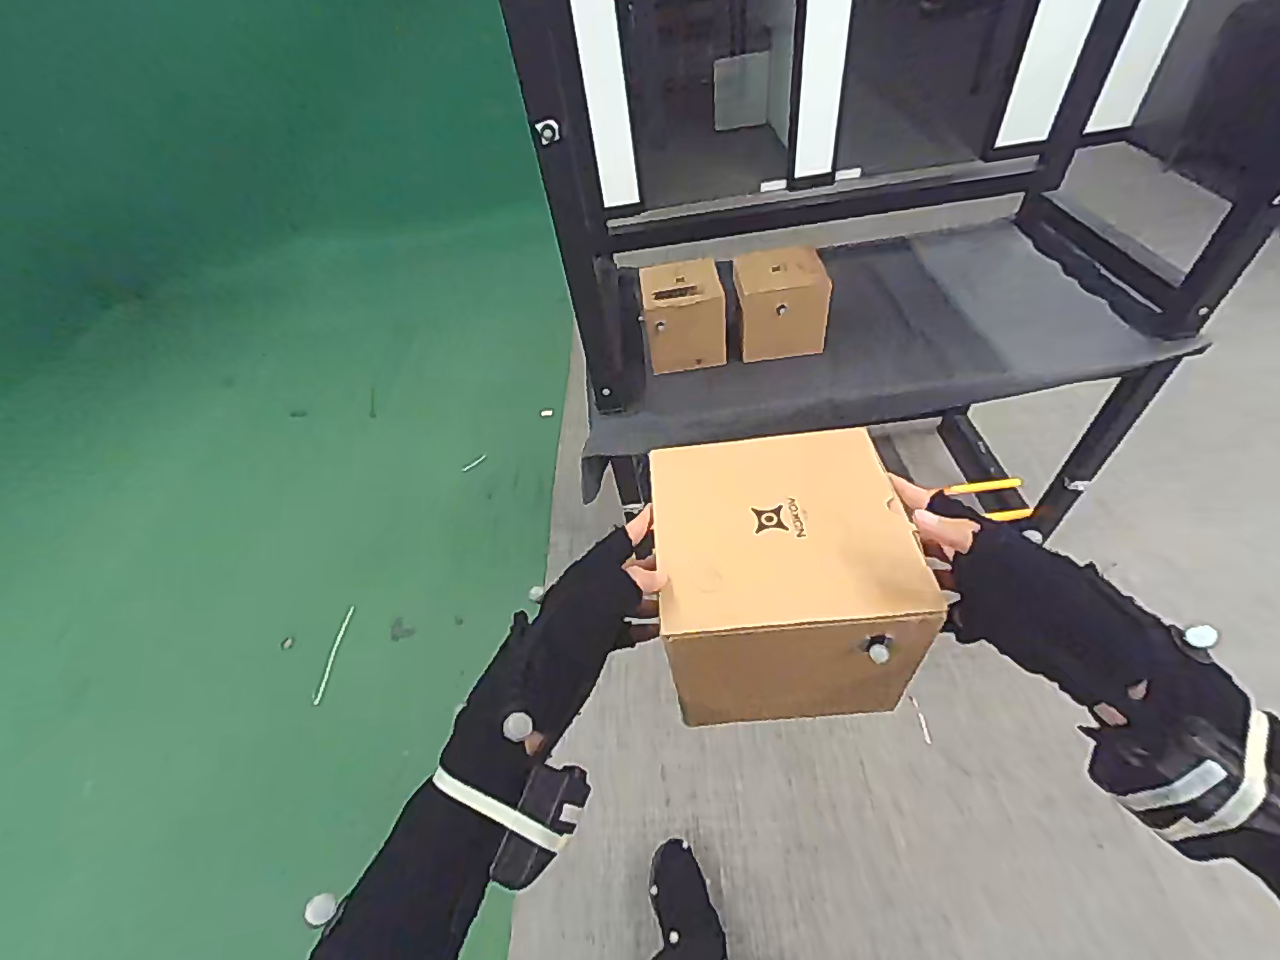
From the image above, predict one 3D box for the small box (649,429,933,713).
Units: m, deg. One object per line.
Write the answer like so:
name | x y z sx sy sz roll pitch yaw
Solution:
small box | 0.106 0.081 0.452 0.179 0.176 0.168 -6 47 3
